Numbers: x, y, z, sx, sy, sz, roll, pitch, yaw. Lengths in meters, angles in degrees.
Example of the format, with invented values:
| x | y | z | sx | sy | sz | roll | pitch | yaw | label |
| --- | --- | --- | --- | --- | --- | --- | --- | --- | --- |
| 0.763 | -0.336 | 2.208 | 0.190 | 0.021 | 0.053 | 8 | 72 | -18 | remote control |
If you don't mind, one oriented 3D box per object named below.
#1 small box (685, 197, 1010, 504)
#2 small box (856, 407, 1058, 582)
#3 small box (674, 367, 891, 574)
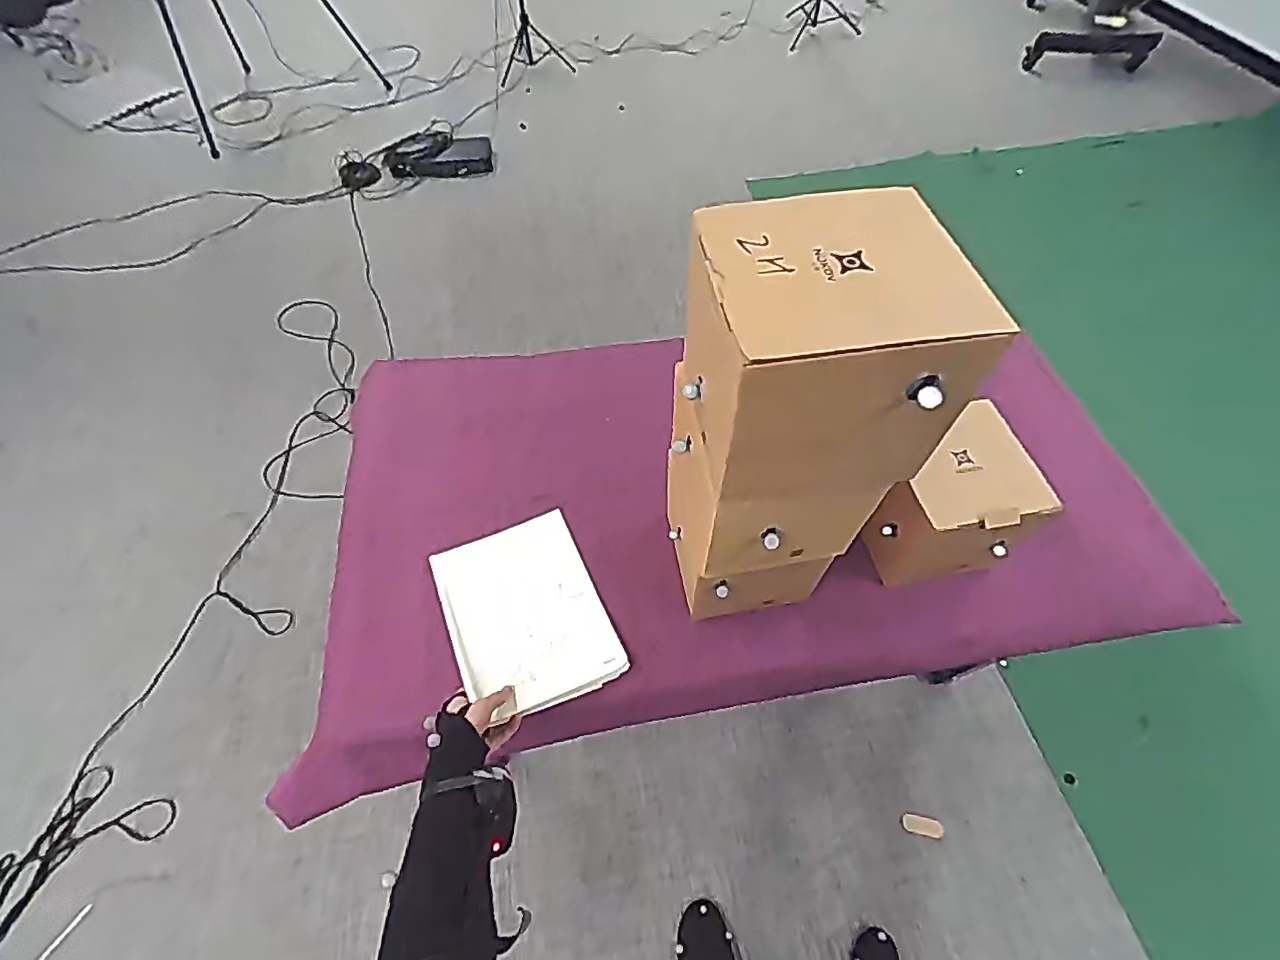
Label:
| x | y | z | sx | sy | sz | roll | pitch | yaw | label |
| --- | --- | --- | --- | --- | --- | --- | --- | --- | --- |
| 0.137 | -0.097 | 0.439 | 0.179 | 0.176 | 0.168 | -7 | 56 | -2 | small box |
| 0.402 | 0.028 | 0.741 | 0.168 | 0.176 | 0.179 | -8 | 56 | -5 | small box |
| 0.132 | -0.012 | 0.580 | 0.168 | 0.176 | 0.179 | -9 | 57 | -4 | small box |
